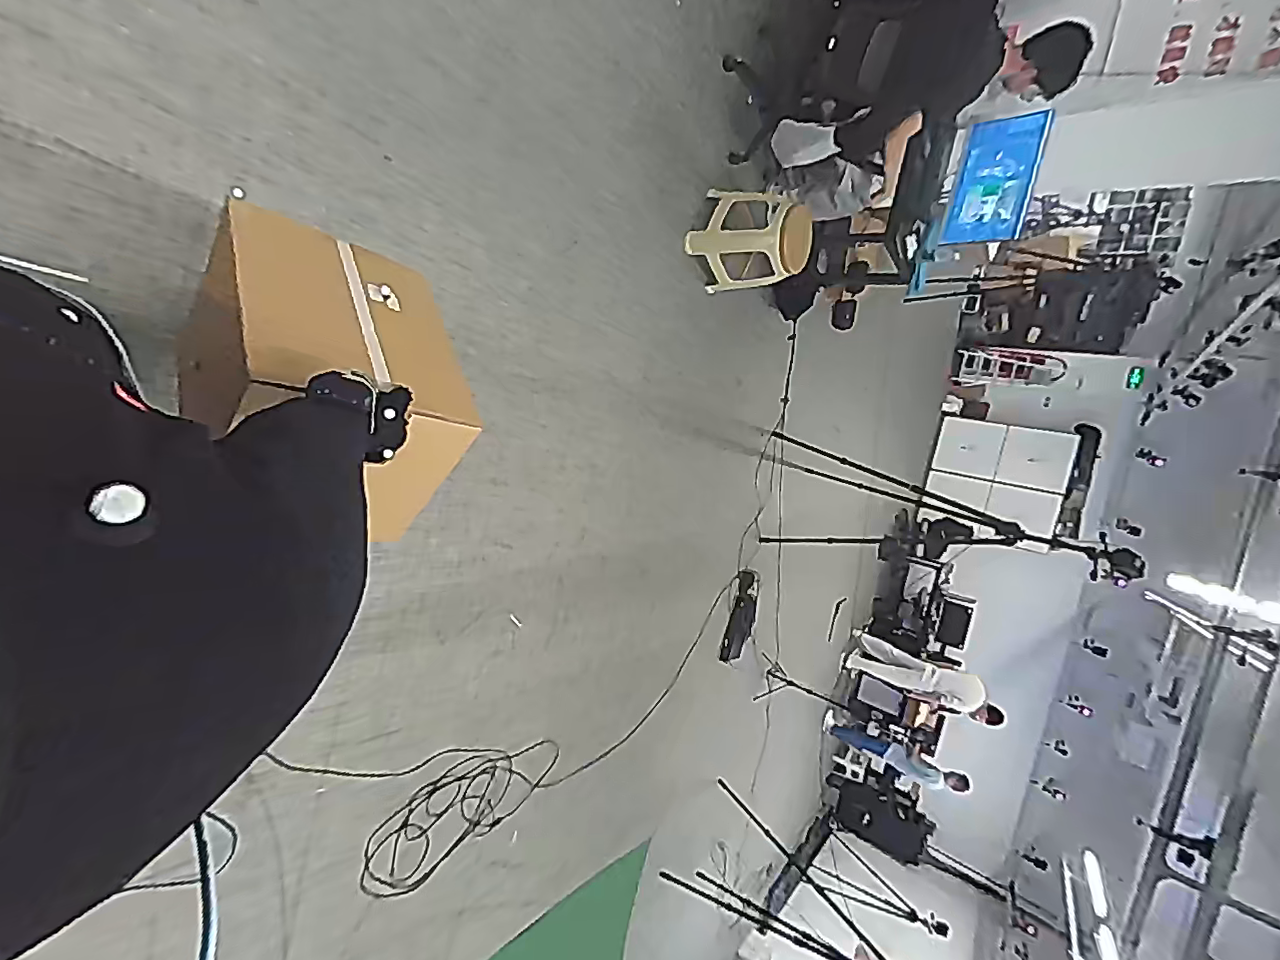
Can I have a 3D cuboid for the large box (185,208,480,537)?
[{"bbox_3d":[-0.529,-0.152,0.907,0.320,0.408,0.320,10,133,-49],"label":"large box"}]
